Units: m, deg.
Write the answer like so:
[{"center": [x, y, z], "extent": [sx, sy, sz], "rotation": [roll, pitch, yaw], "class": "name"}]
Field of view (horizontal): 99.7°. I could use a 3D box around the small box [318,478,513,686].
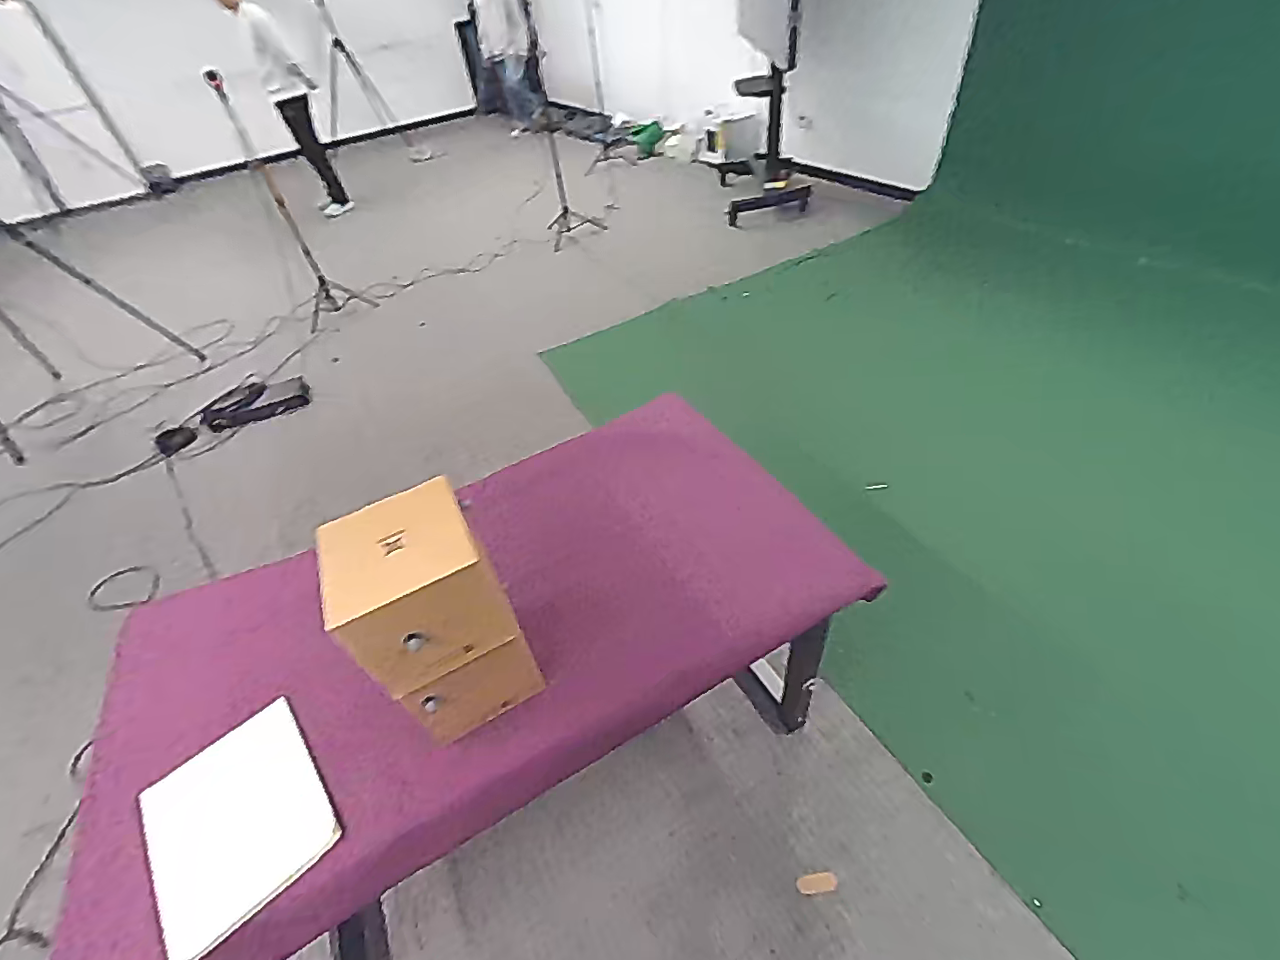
[{"center": [-0.281, 0.134, 0.692], "extent": [0.168, 0.176, 0.179], "rotation": [-25, 44, -16], "class": "small box"}]
